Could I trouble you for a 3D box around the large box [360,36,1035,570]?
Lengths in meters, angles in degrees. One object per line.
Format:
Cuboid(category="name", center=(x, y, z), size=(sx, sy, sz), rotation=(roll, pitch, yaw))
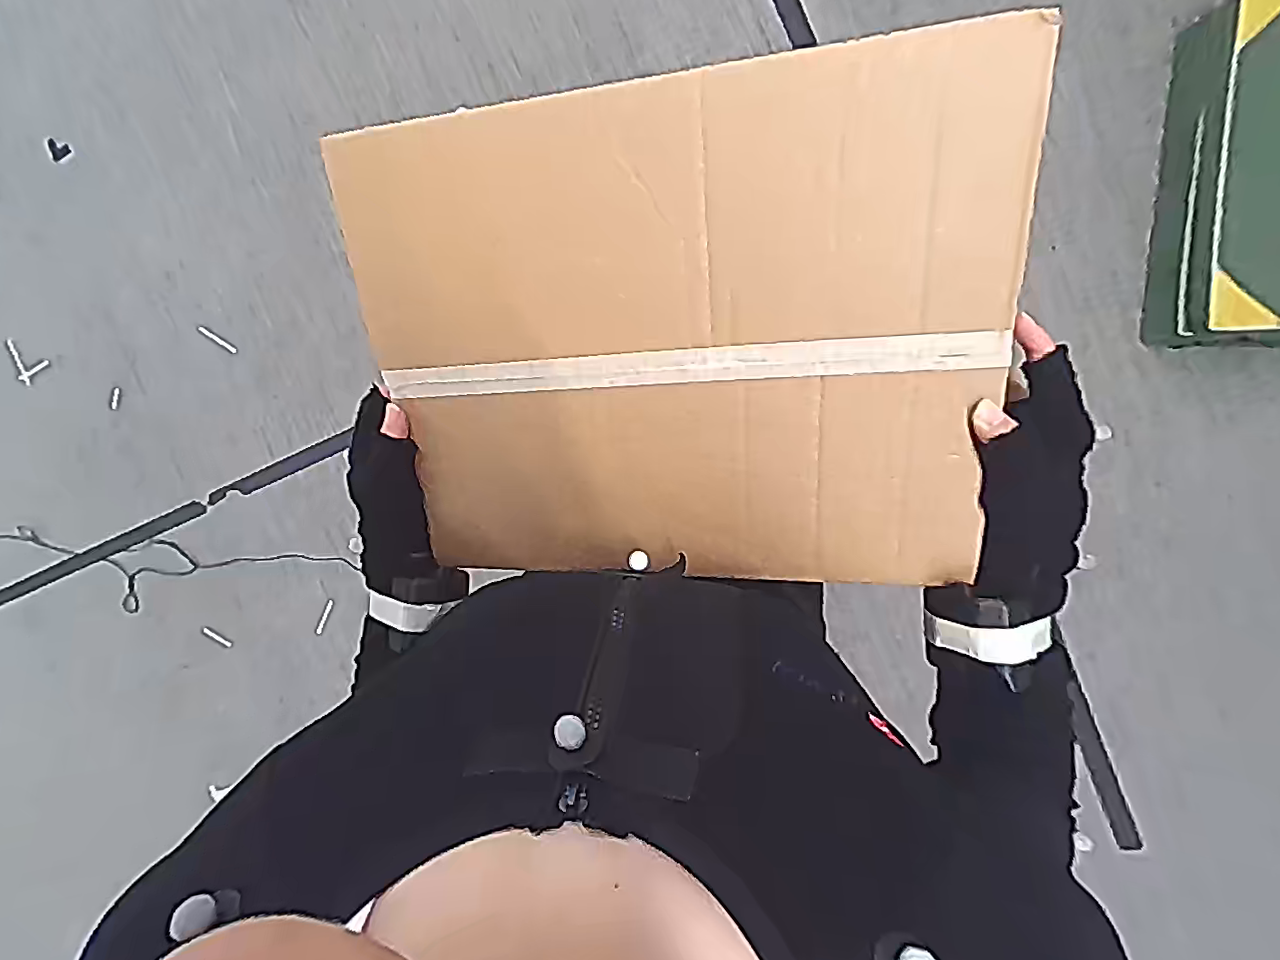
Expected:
Cuboid(category="large box", center=(0.048, -0.131, 0.501), size=(0.408, 0.320, 0.320), rotation=(0, 113, 13))
